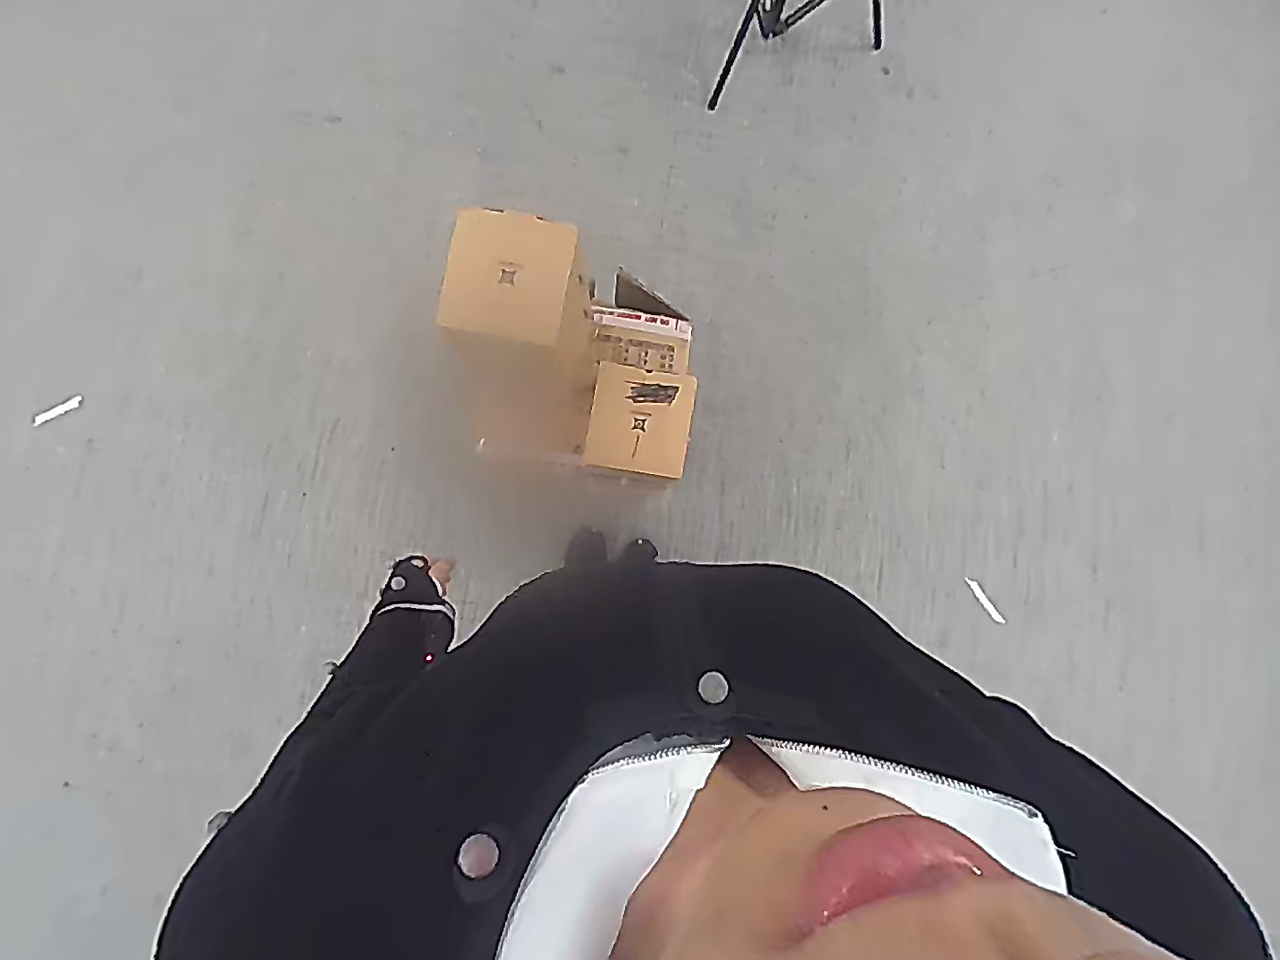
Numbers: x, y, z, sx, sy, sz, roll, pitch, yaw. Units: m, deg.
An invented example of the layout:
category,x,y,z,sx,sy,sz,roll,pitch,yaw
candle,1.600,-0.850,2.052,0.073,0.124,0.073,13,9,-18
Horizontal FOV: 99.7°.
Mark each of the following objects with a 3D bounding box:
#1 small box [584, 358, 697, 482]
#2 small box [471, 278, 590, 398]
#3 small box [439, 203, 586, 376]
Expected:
category,x,y,z,sx,sy,sz,roll,pitch,yaw
small box,-0.005,-0.098,0.967,0.168,0.176,0.179,10,86,-3
small box,-0.185,-0.260,0.969,0.168,0.176,0.179,10,86,-1
small box,-0.177,-0.272,0.807,0.168,0.176,0.179,10,86,0
